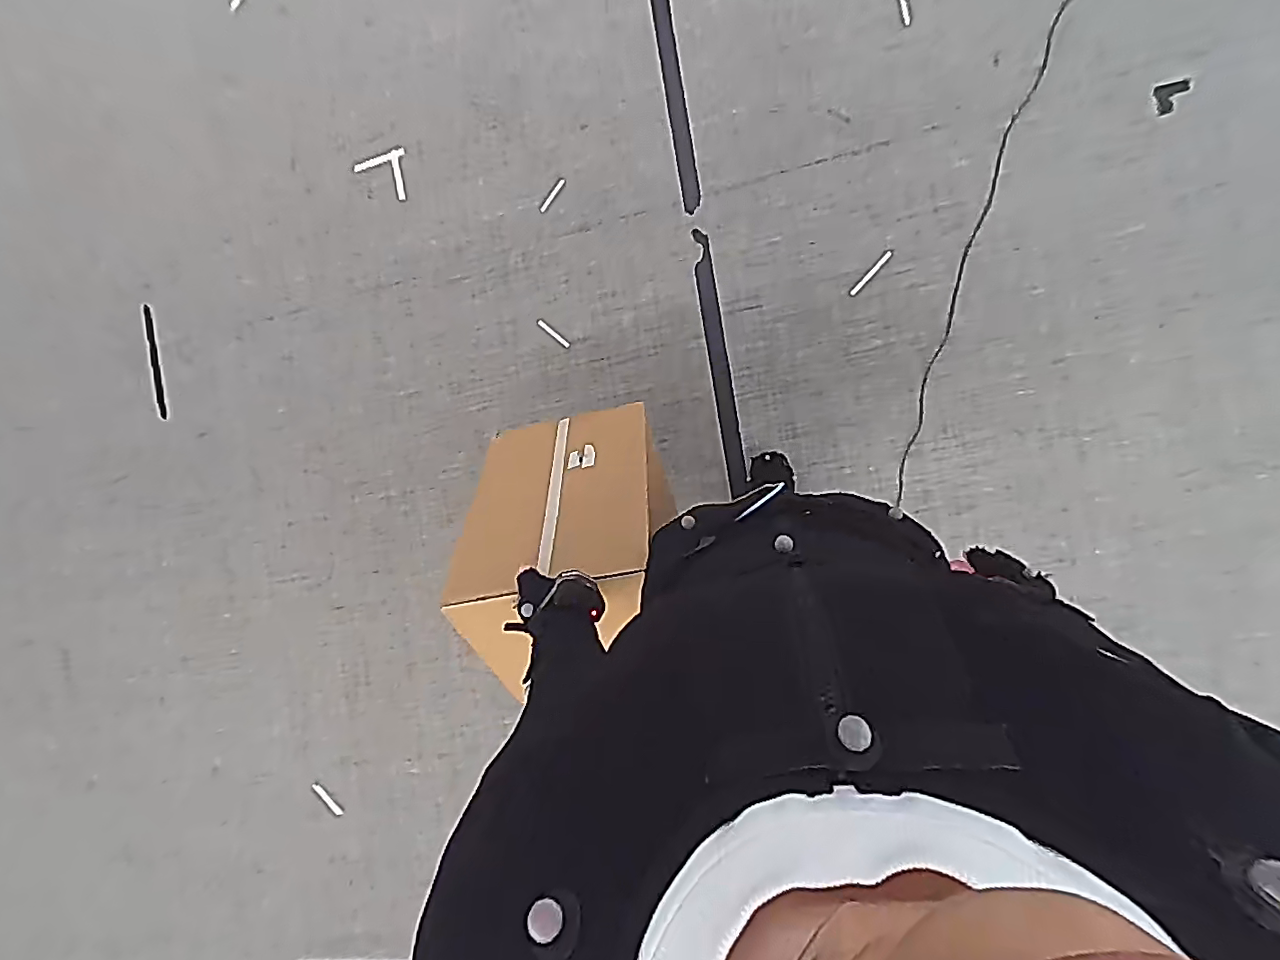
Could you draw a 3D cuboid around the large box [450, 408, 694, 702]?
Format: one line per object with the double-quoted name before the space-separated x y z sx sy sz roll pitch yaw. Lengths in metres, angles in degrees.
"large box" -0.097 0.131 0.997 0.320 0.408 0.320 -11 130 8
